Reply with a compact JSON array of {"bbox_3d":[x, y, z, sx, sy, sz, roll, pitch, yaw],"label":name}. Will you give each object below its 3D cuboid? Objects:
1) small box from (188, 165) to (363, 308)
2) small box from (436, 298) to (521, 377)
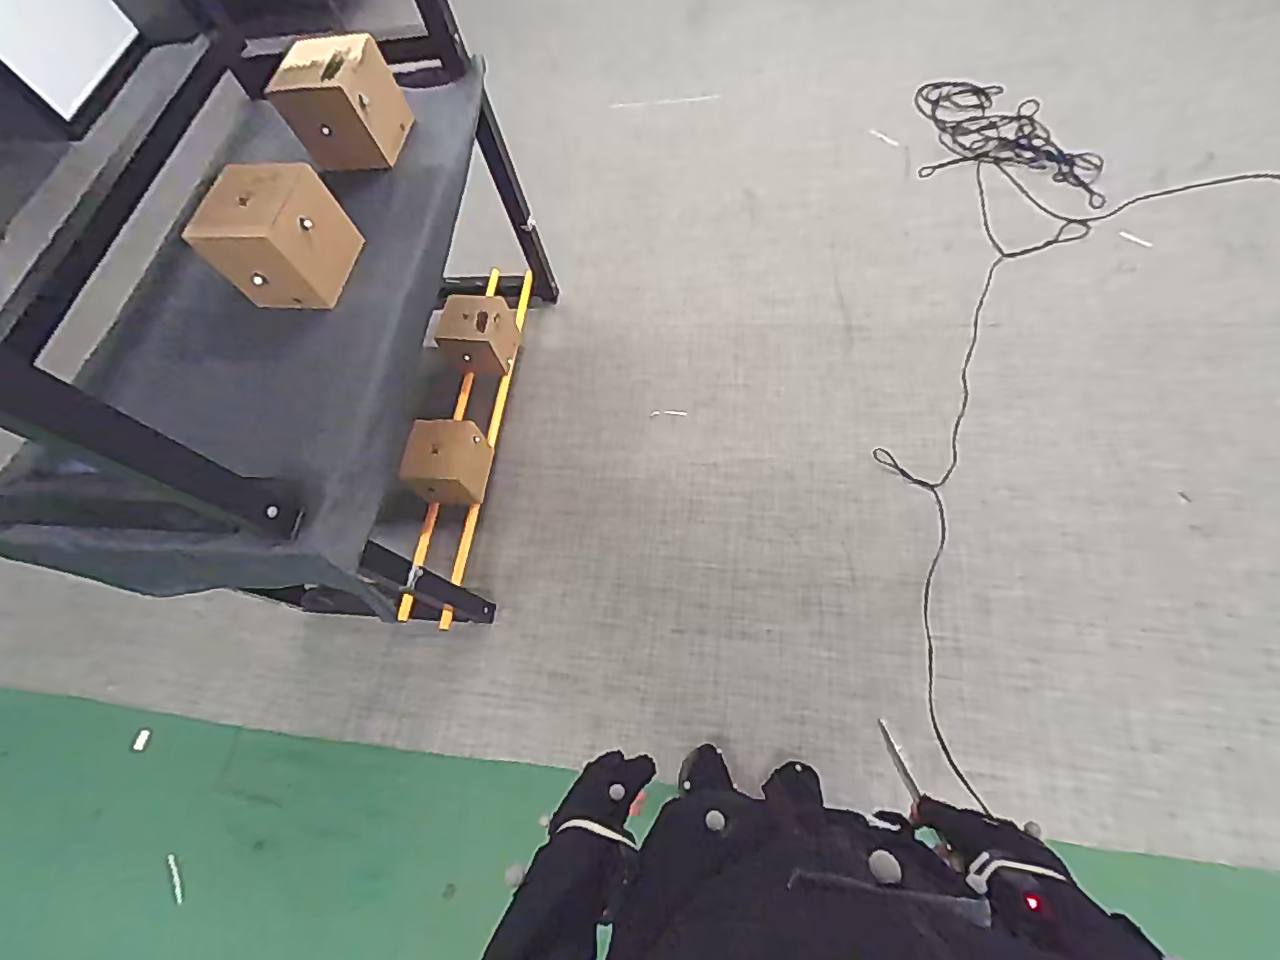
[{"bbox_3d":[-0.637,-0.430,0.972,0.168,0.176,0.179,5,66,10],"label":"small box"},{"bbox_3d":[-0.480,-0.428,1.641,0.179,0.176,0.168,5,66,10],"label":"small box"}]
